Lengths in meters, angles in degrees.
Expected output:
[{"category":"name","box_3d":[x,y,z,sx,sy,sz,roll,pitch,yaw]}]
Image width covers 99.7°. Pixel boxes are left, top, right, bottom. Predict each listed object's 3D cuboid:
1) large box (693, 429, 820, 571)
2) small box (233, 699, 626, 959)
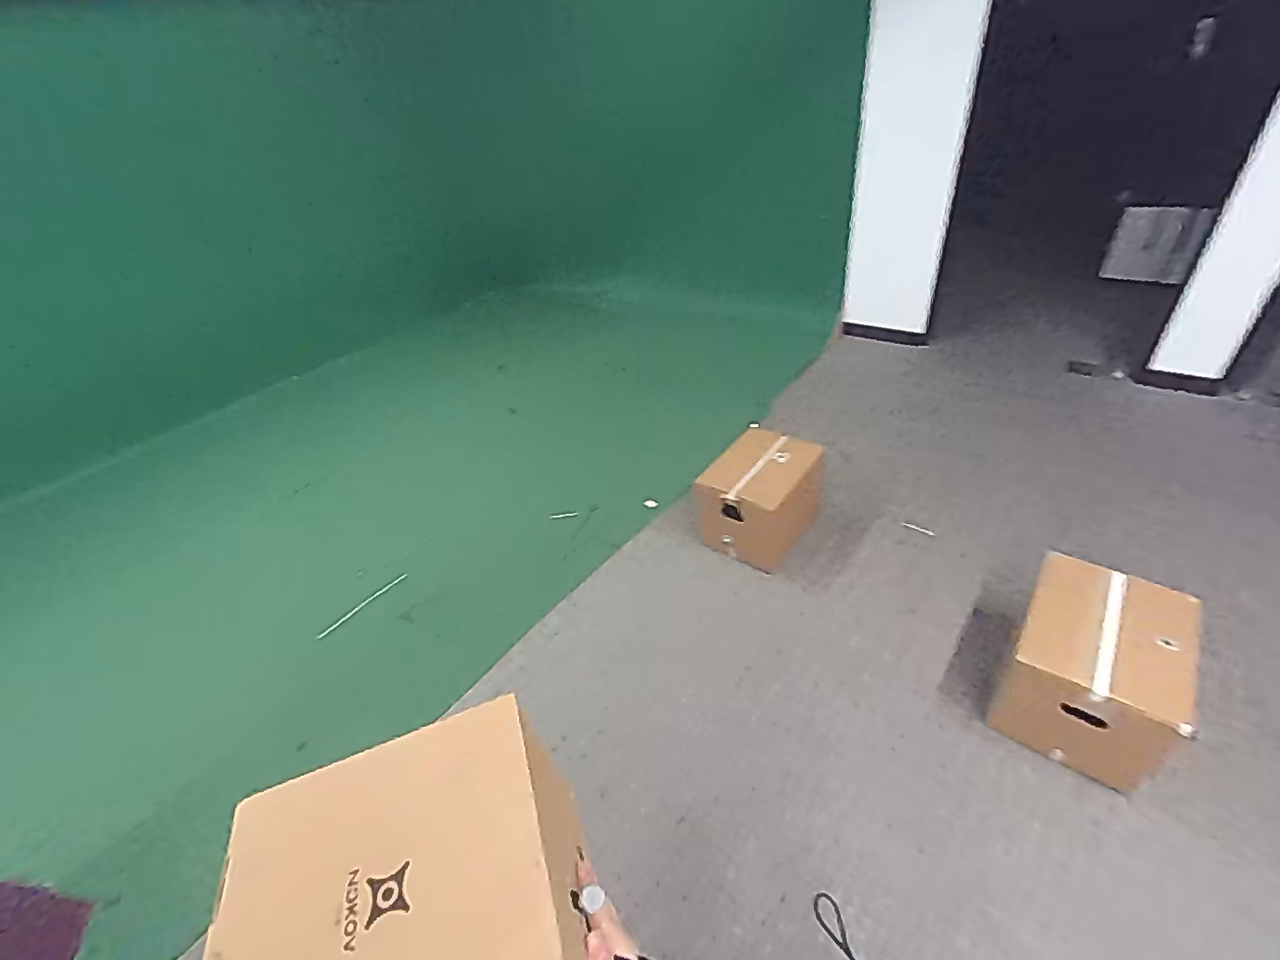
[{"category":"large box","box_3d":[0.442,0.065,2.030,0.320,0.320,0.408,22,47,34]},{"category":"small box","box_3d":[-0.111,0.274,0.335,0.179,0.176,0.168,-19,43,-7]}]
